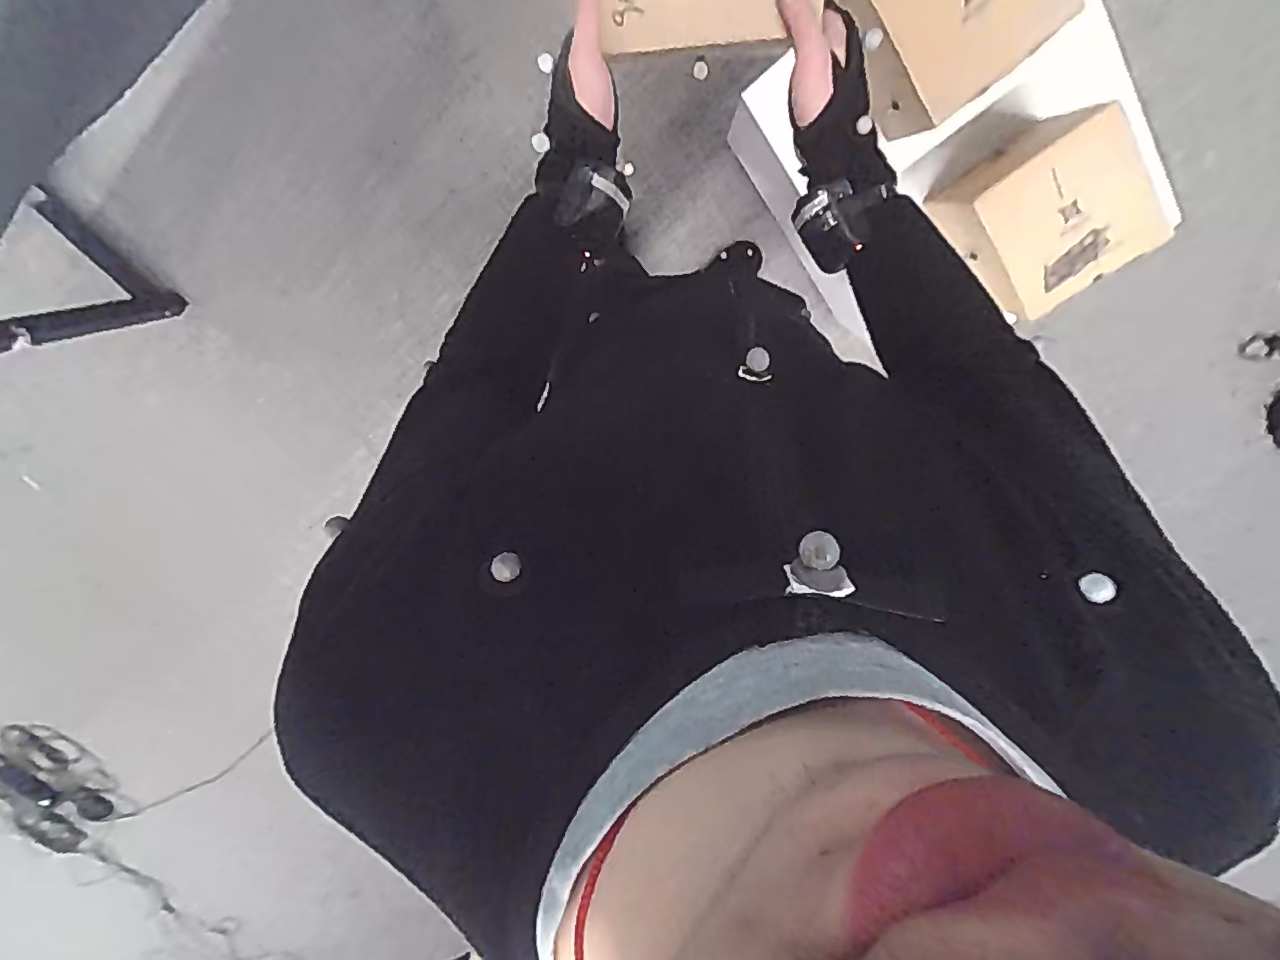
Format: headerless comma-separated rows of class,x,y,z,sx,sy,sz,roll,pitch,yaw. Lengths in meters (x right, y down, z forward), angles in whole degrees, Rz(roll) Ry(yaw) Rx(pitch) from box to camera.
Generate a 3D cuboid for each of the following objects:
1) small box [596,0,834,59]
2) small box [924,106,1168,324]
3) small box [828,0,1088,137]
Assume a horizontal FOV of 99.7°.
small box,0.051,-0.445,0.424,0.179,0.176,0.168,-3,123,2
small box,0.509,-0.335,0.702,0.168,0.176,0.179,-33,108,19
small box,0.347,-0.530,0.621,0.168,0.176,0.179,-36,108,18
